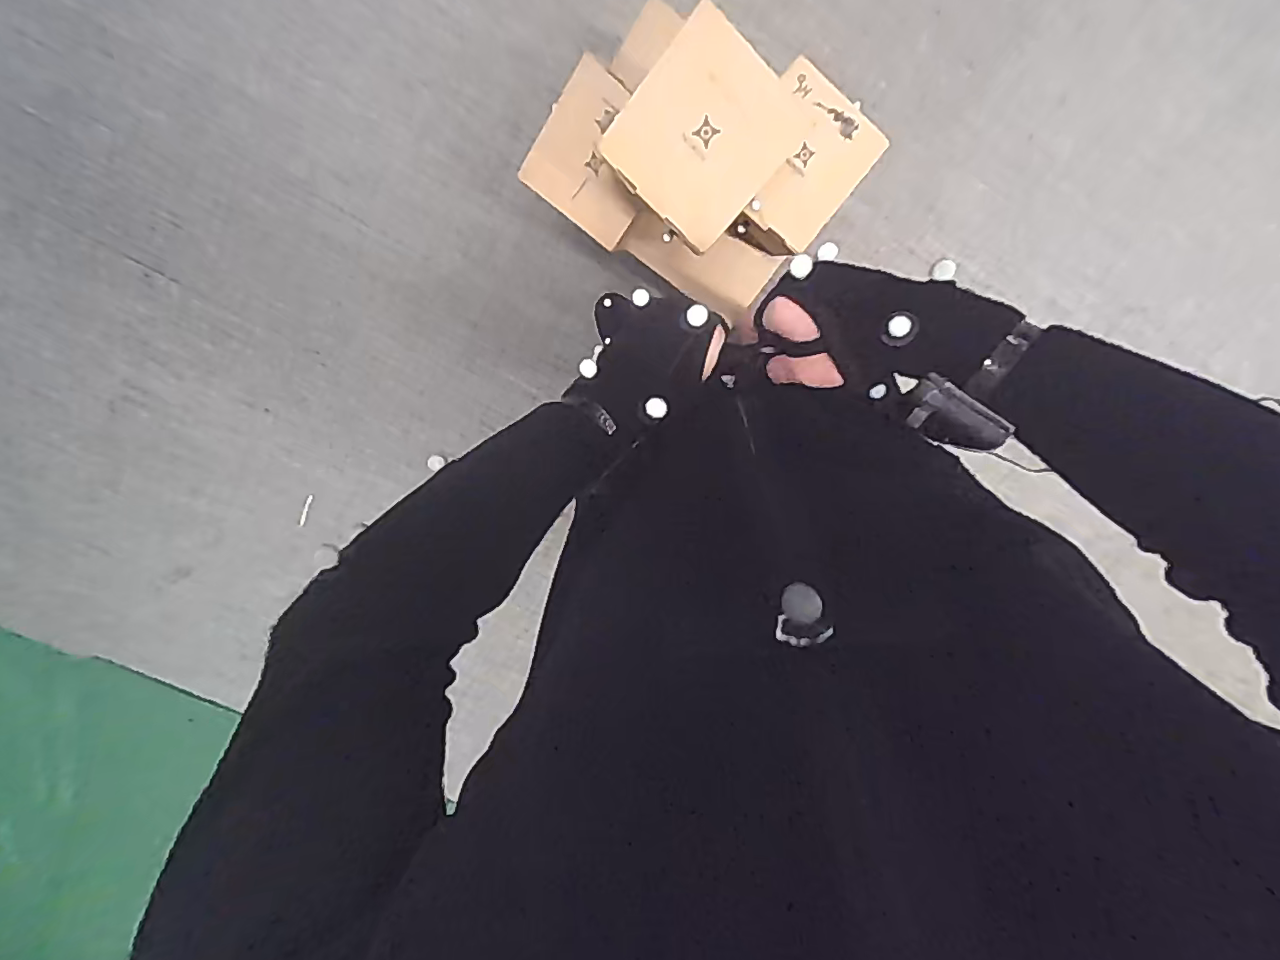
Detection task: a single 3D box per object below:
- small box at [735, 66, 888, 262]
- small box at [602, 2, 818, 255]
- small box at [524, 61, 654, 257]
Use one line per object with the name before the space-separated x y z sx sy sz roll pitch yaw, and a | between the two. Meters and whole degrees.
small box | 0.220 -0.444 0.801 0.168 0.176 0.179 36 108 -10
small box | 0.078 -0.394 0.651 0.168 0.176 0.179 40 107 -13
small box | -0.043 -0.461 0.807 0.168 0.176 0.179 37 111 -11
